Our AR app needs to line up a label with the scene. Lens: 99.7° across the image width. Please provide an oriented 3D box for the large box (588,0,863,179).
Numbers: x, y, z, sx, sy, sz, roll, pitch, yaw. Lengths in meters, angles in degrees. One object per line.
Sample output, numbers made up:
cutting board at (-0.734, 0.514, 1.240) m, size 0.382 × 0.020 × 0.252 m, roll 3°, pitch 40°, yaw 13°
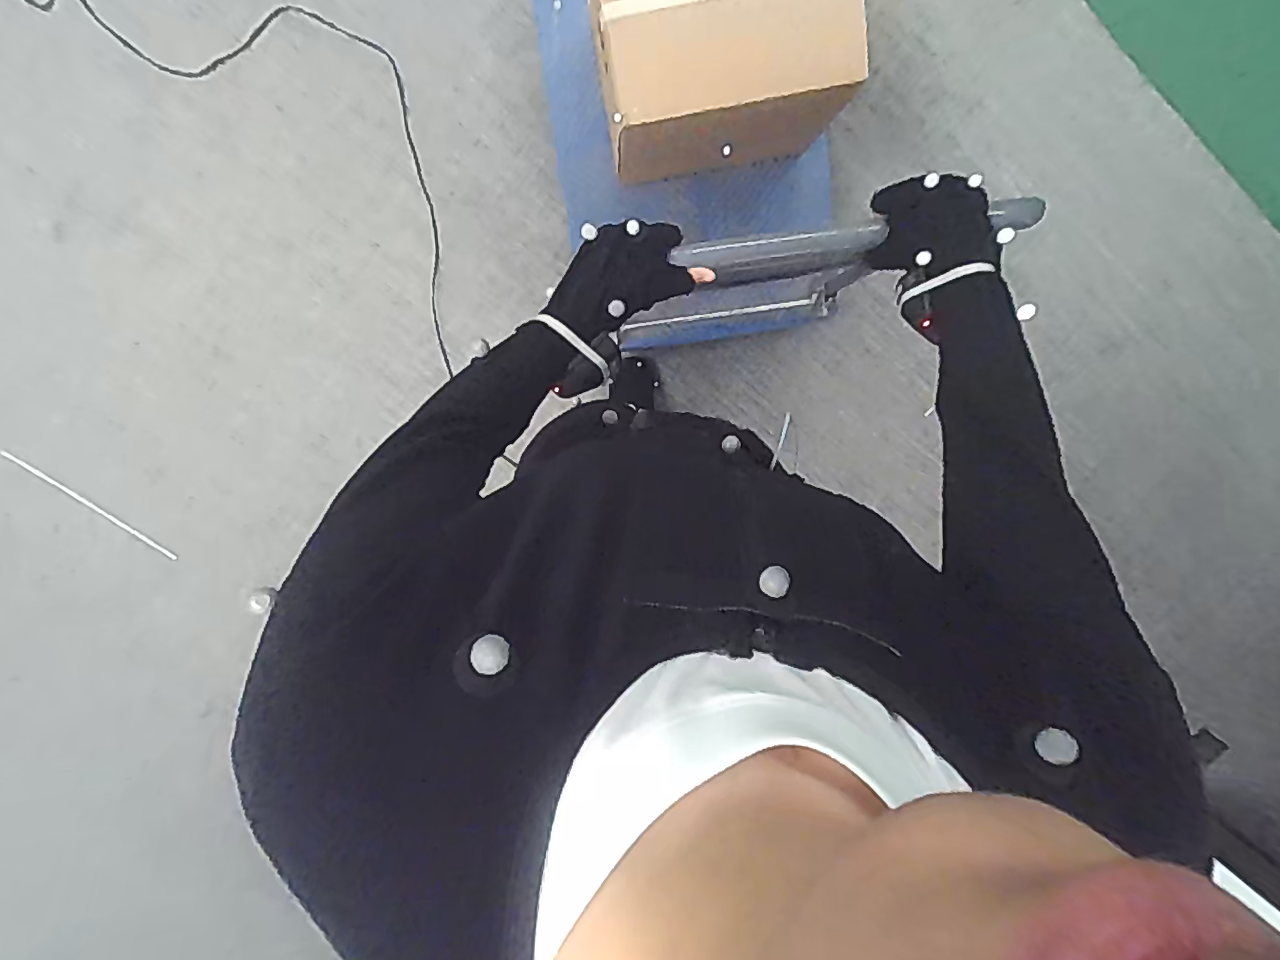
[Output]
large box at (0.130, -0.790, 0.976) m, size 0.408 × 0.320 × 0.320 m, roll -11°, pitch 102°, yaw 0°
